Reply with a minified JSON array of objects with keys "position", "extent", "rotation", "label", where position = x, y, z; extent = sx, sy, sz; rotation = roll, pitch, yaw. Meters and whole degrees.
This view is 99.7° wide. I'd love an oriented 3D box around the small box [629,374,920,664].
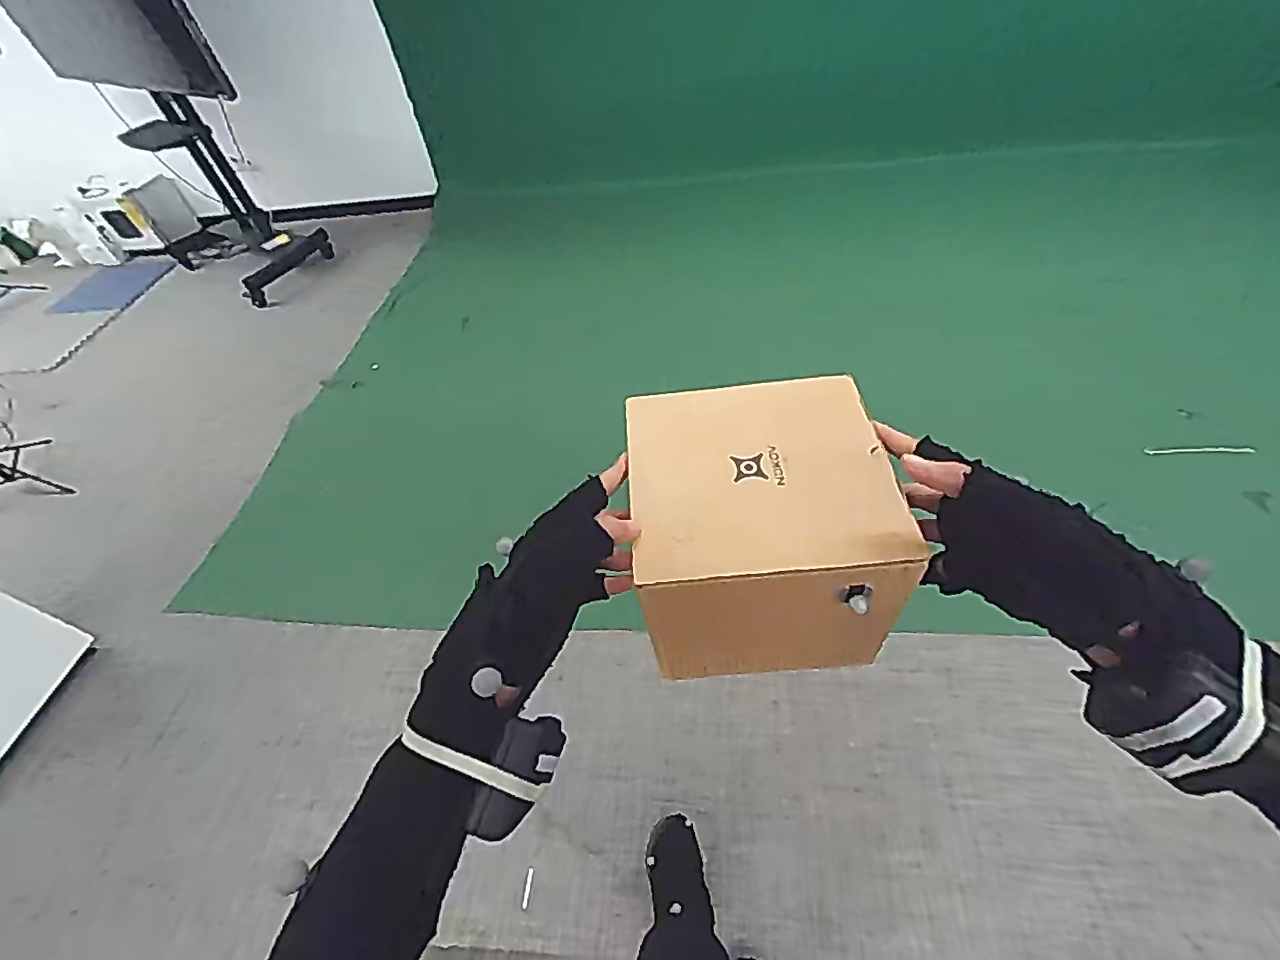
[{"position":[0.089,0.039,0.440],"extent":[0.179,0.176,0.168],"rotation":[-6,51,3],"label":"small box"}]
